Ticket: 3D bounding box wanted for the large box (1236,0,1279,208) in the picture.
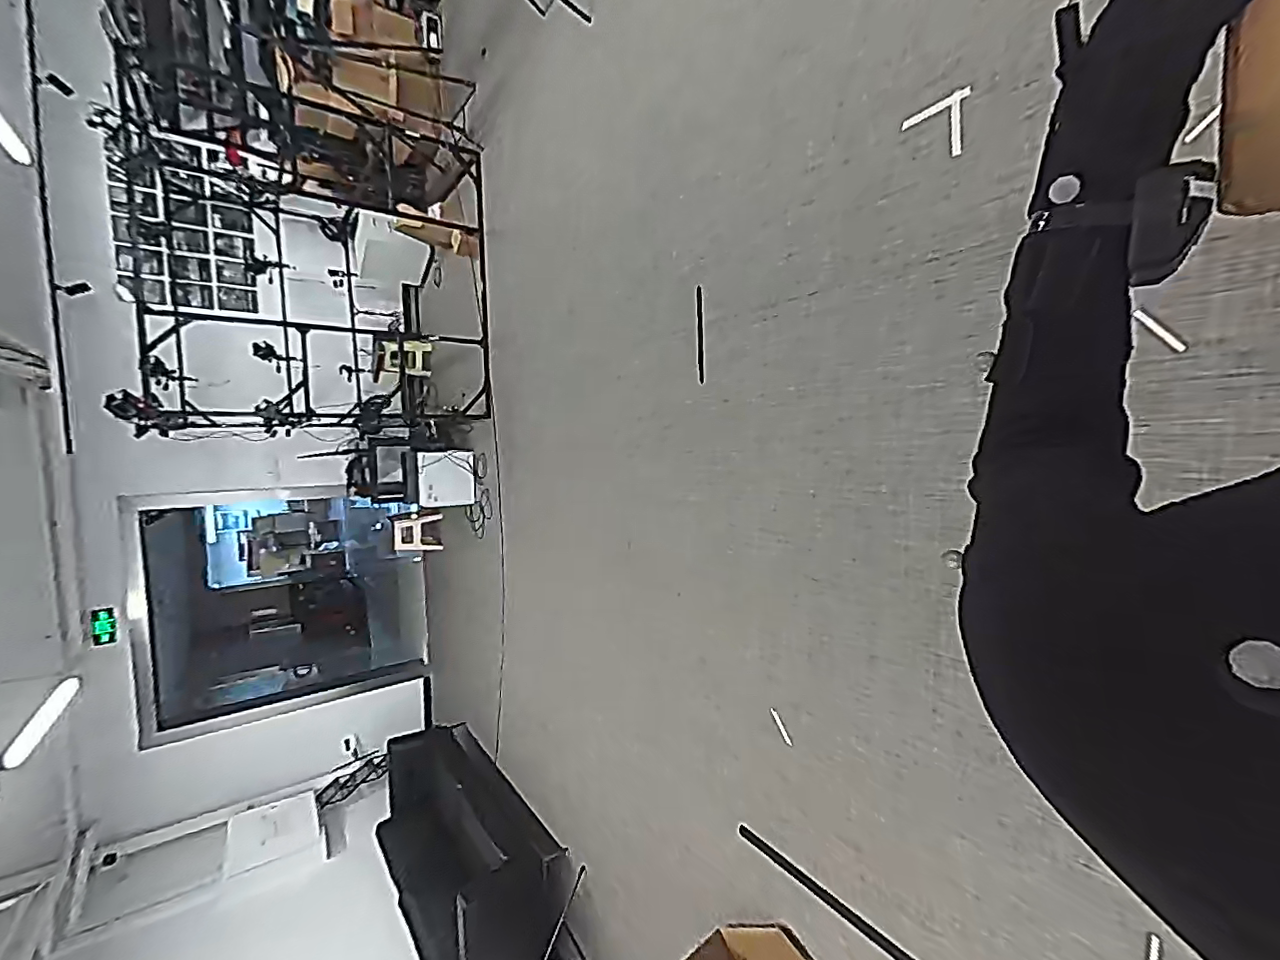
[{"bbox_3d":[0.558,-0.335,0.208,0.408,0.320,0.320,9,114,56],"label":"large box"}]
